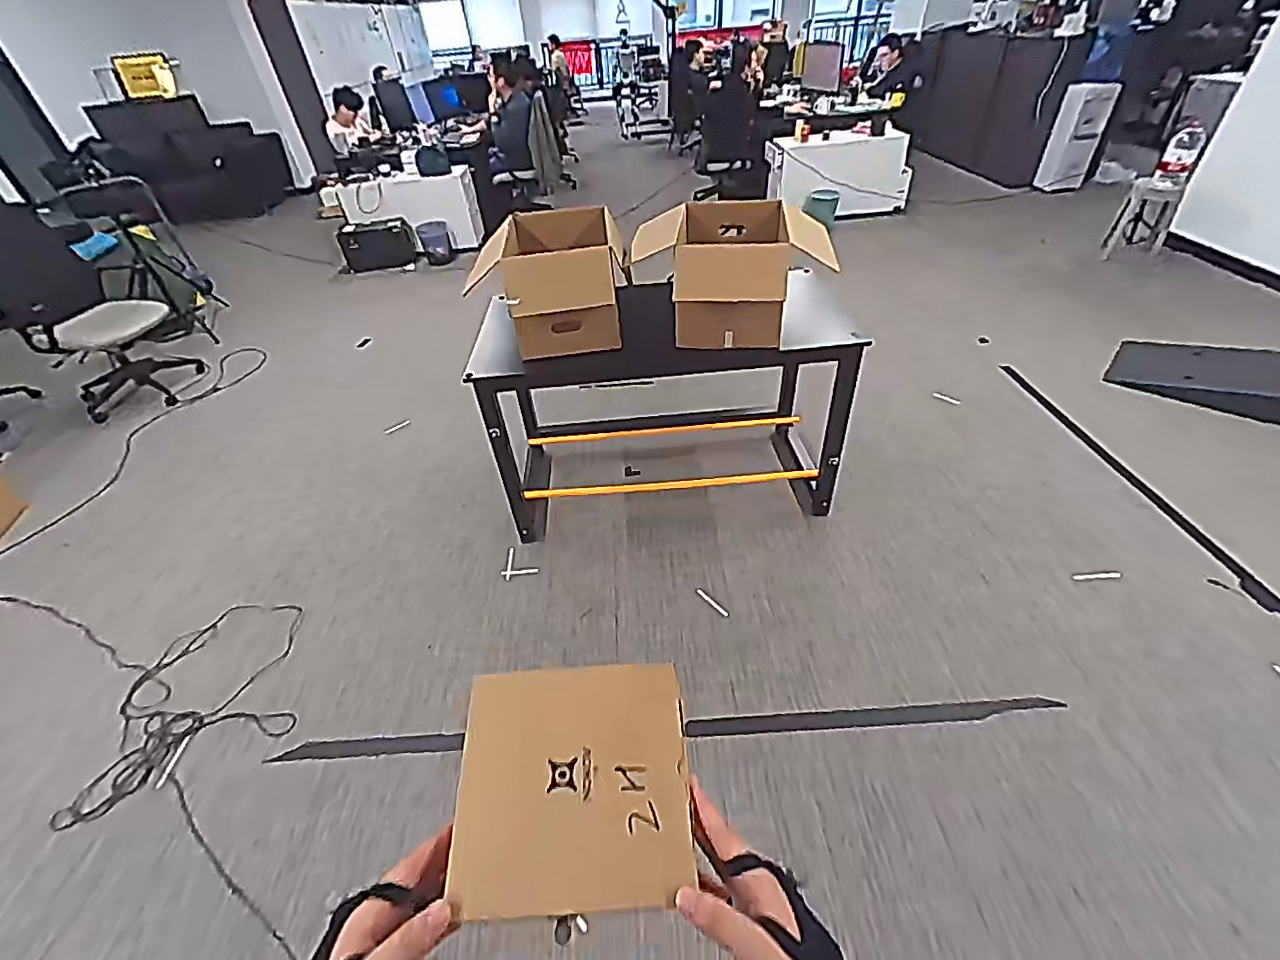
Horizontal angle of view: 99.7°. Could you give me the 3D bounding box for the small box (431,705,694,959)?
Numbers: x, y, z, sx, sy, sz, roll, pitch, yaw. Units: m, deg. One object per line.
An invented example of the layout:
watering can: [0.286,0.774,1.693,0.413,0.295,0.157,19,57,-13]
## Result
small box: [-0.051,0.305,0.462,0.179,0.176,0.168,-3,52,-1]
